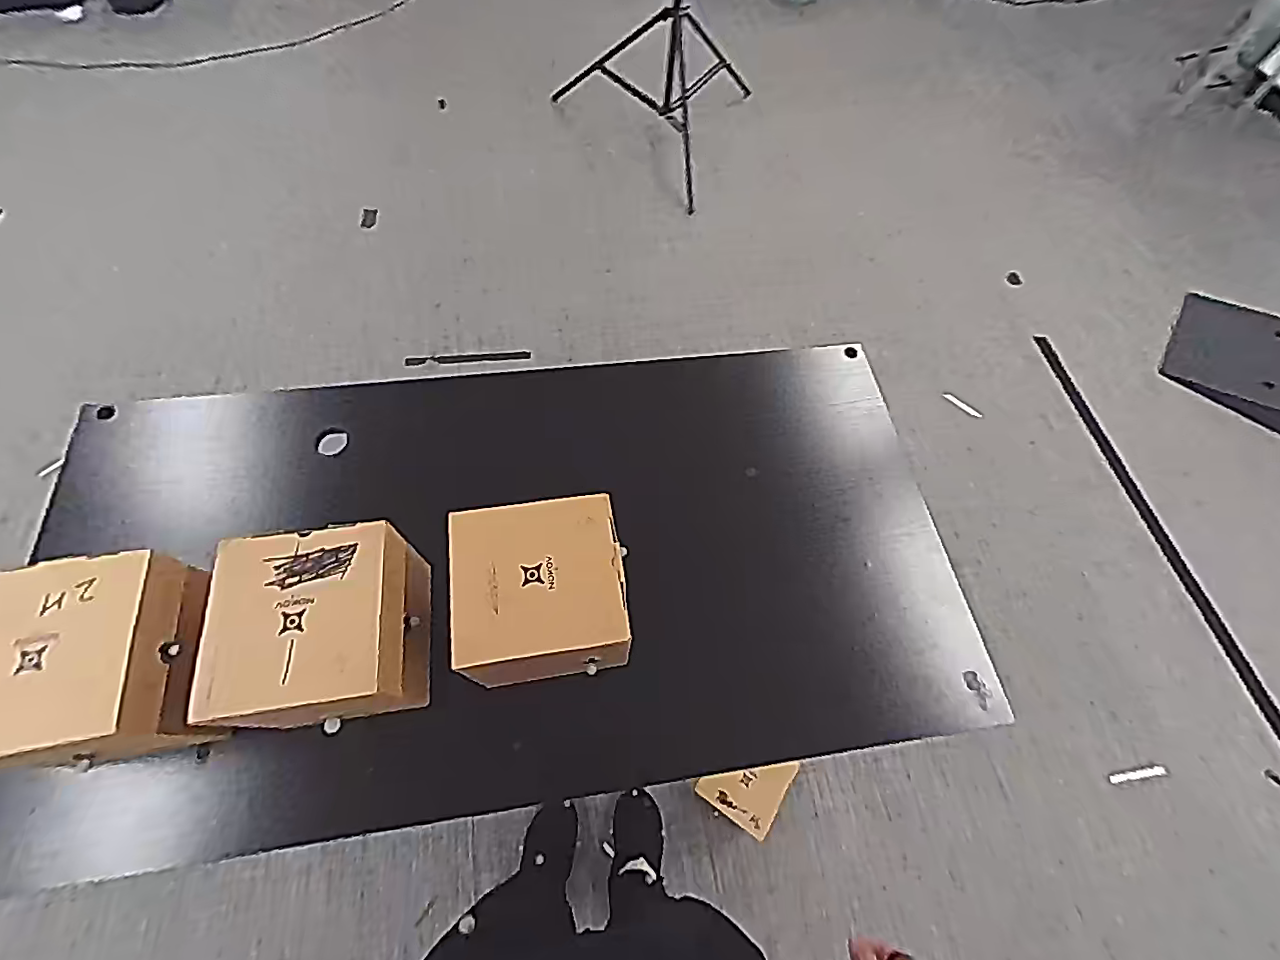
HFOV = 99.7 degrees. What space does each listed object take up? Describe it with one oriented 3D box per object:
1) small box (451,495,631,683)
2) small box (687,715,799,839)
[{"bbox_3d":[-0.111,0.132,0.631,0.179,0.176,0.168,-7,64,-6],"label":"small box"},{"bbox_3d":[0.221,0.654,1.207,0.168,0.176,0.179,33,67,12],"label":"small box"}]
